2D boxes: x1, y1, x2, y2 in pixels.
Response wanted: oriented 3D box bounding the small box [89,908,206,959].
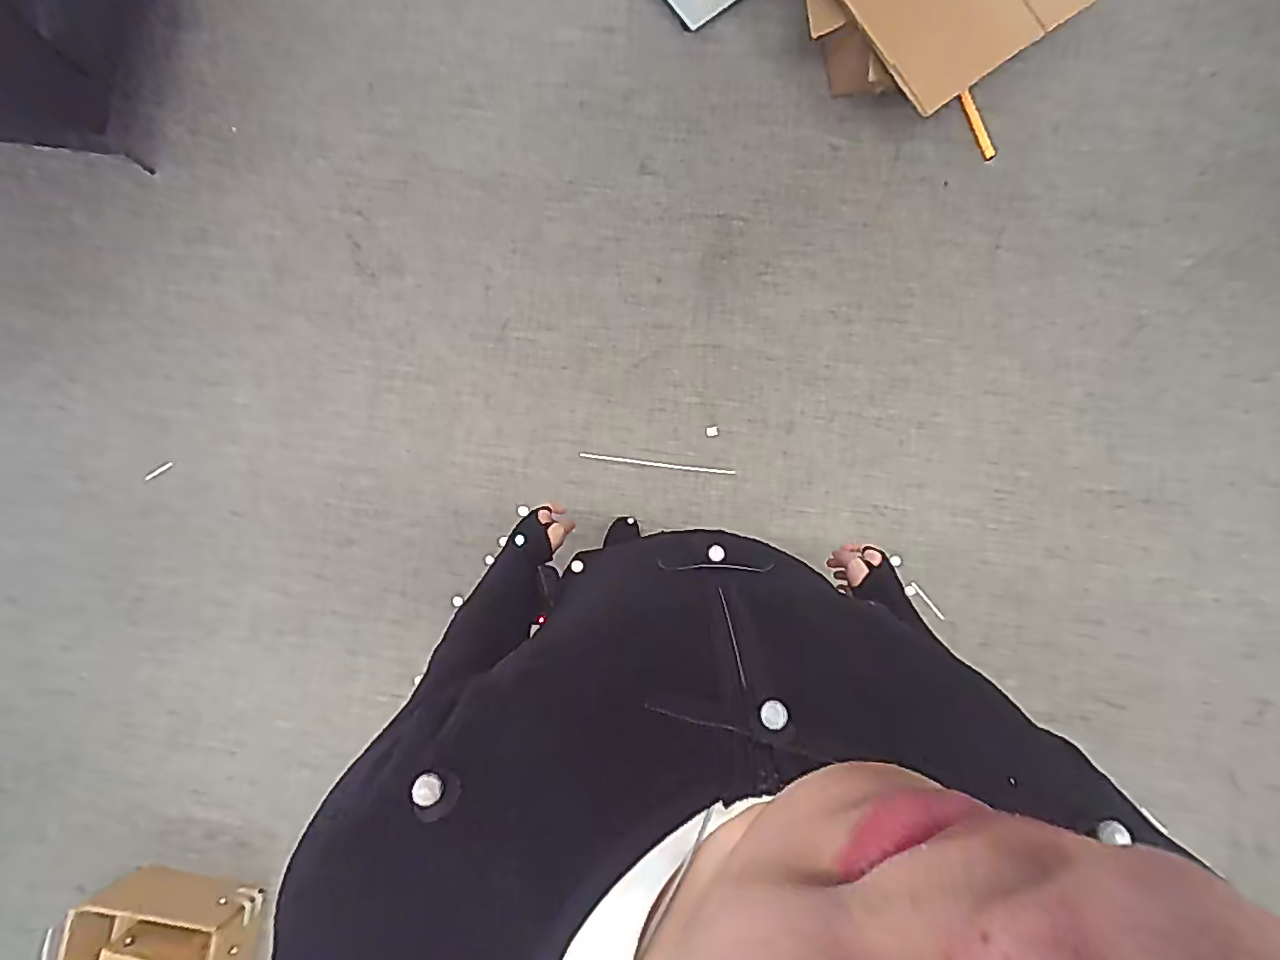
[{"bbox_3d":[-1.310,1.284,1.430,0.179,0.176,0.168,12,85,2],"label":"small box"}]
